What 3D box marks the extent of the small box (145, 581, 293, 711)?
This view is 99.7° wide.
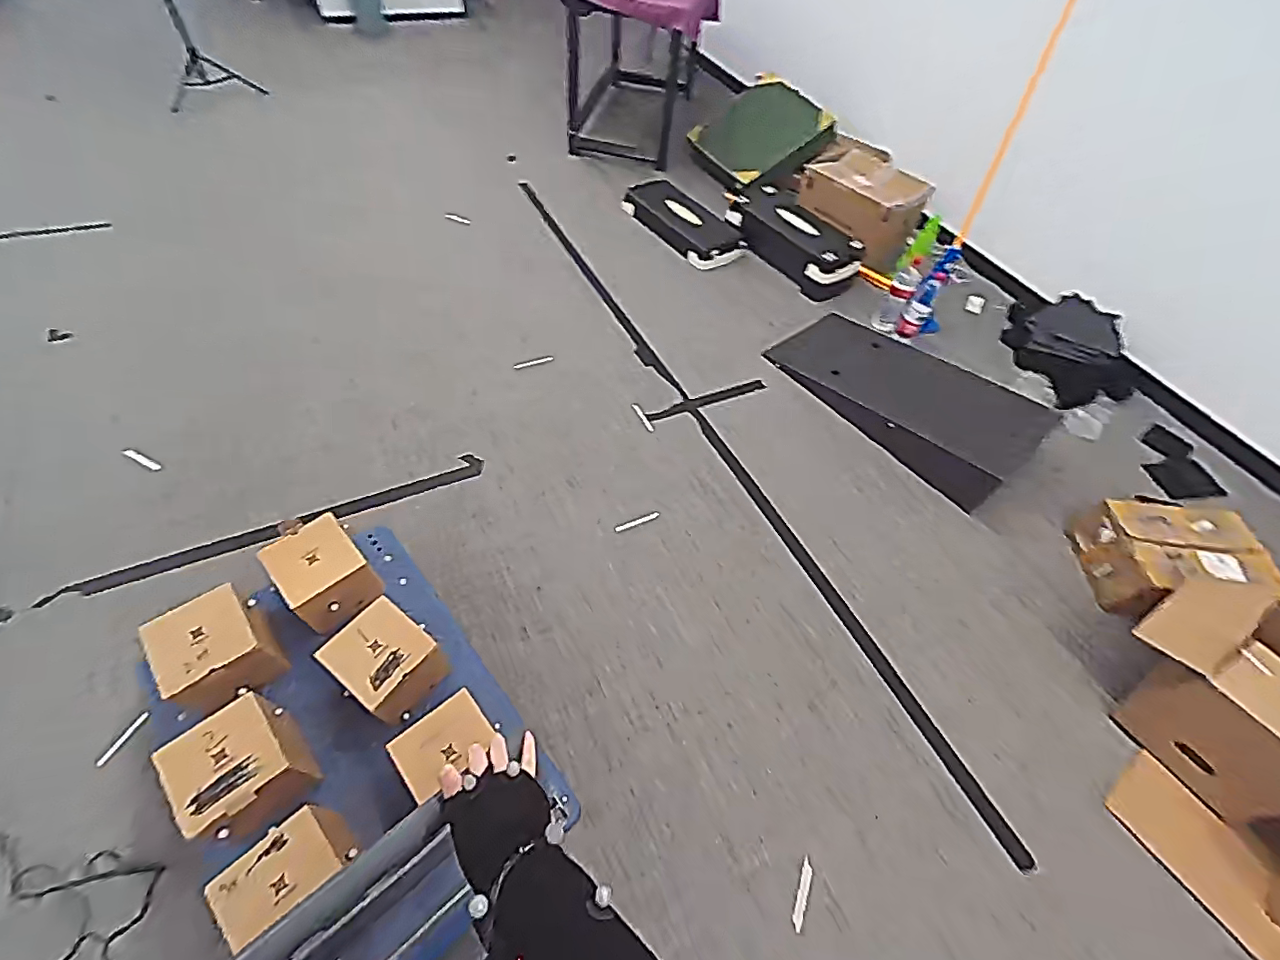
[{"bbox_3d":[-0.870,0.350,1.130,0.168,0.176,0.179,-31,65,-25],"label":"small box"}]

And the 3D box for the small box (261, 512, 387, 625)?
[{"bbox_3d":[-0.719,0.213,1.249,0.168,0.176,0.179,-36,66,-27],"label":"small box"}]

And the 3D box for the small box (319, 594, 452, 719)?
[{"bbox_3d":[-0.530,0.383,1.153,0.179,0.176,0.168,34,58,17],"label":"small box"}]

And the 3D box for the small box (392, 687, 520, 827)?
[{"bbox_3d":[-0.352,0.546,1.063,0.168,0.176,0.179,-32,64,-27],"label":"small box"}]

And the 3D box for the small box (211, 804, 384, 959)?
[{"bbox_3d":[-0.572,0.694,0.926,0.168,0.176,0.179,-36,67,-29],"label":"small box"}]
